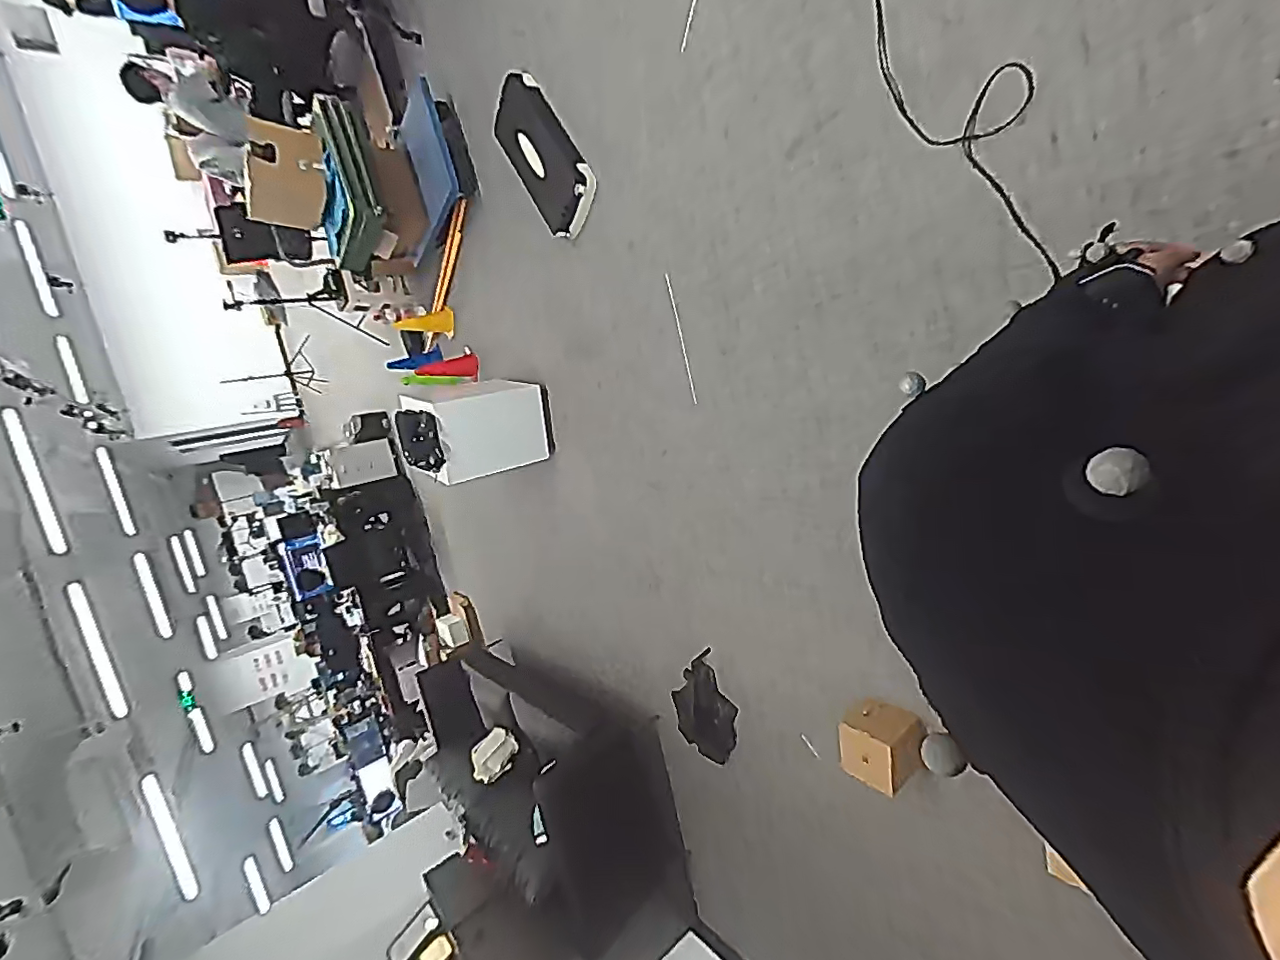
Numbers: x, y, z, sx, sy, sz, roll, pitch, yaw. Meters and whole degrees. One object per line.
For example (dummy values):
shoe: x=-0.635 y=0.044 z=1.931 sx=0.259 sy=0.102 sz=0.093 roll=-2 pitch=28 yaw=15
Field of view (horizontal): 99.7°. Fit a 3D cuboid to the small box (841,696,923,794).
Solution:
small box: x=0.731 y=0.788 z=1.630 sx=0.168 sy=0.176 sz=0.179 roll=8 pitch=112 yaw=53
